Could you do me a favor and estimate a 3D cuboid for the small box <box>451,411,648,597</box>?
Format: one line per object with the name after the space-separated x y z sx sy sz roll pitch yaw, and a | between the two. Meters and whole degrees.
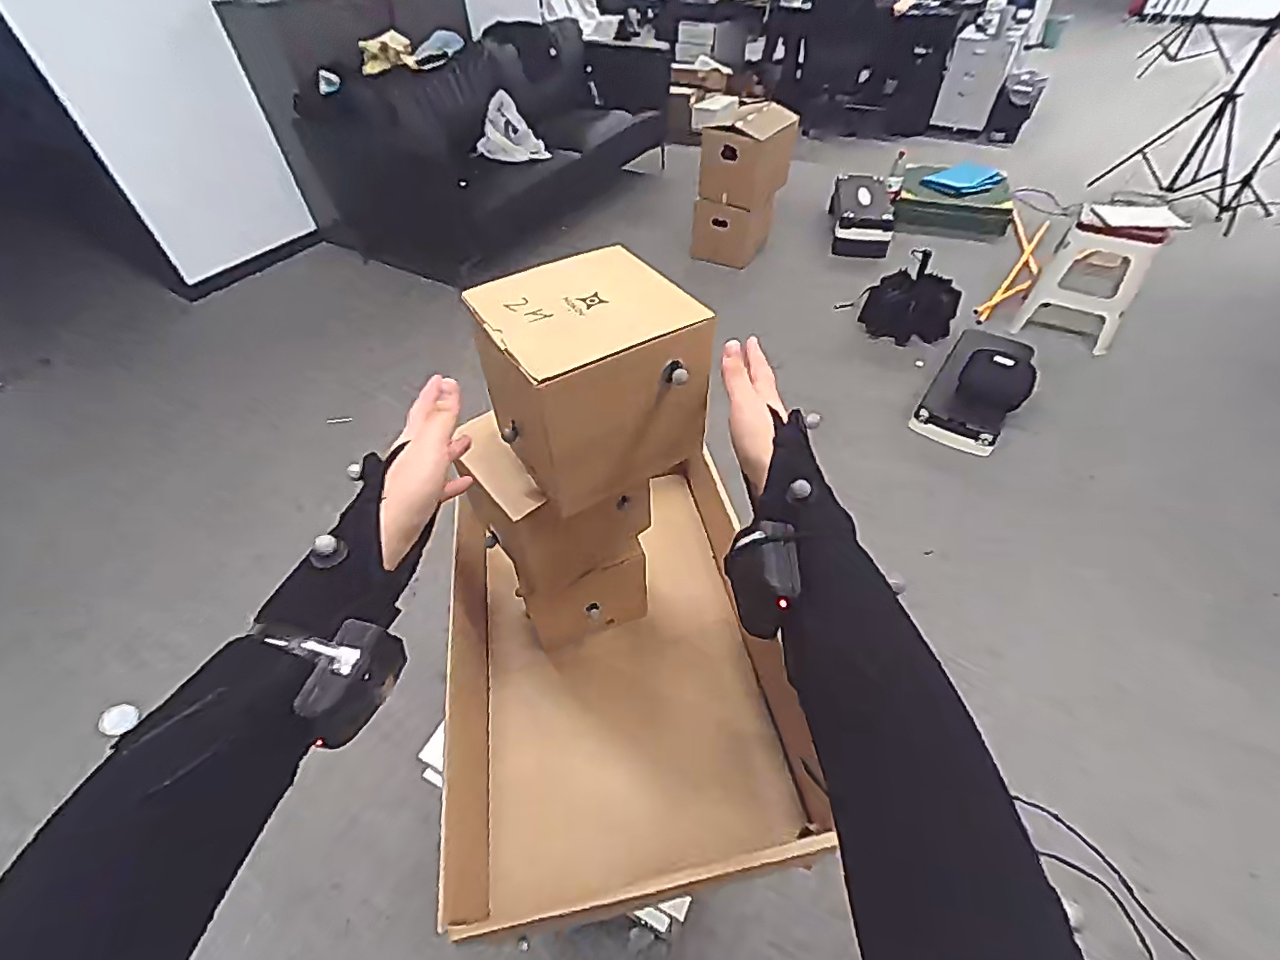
-0.102 0.010 0.683 0.179 0.176 0.168 -34 54 -23 | small box

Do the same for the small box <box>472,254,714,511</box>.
-0.046 -0.101 0.559 0.179 0.176 0.168 -26 51 -20 | small box
